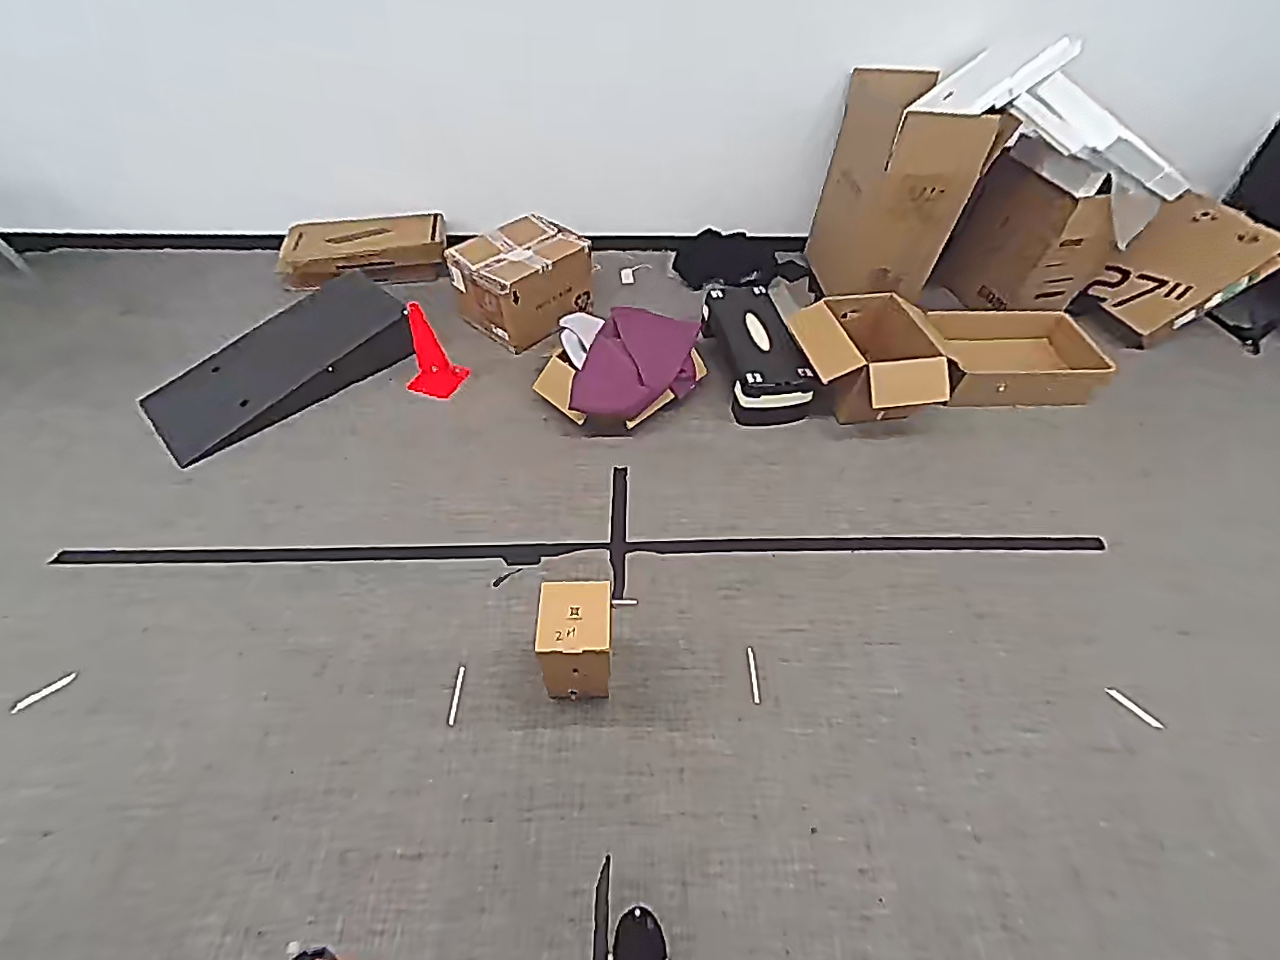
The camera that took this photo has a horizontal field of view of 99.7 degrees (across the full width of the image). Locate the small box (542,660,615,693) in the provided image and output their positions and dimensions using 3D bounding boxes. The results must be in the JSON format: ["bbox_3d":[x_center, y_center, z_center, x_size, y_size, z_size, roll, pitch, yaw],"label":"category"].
[{"bbox_3d":[-0.147,0.418,1.353,0.168,0.176,0.179,-2,52,-2],"label":"small box"}]

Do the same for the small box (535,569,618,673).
[{"bbox_3d":[-0.137,0.320,1.220,0.168,0.176,0.179,-2,51,-1],"label":"small box"}]
